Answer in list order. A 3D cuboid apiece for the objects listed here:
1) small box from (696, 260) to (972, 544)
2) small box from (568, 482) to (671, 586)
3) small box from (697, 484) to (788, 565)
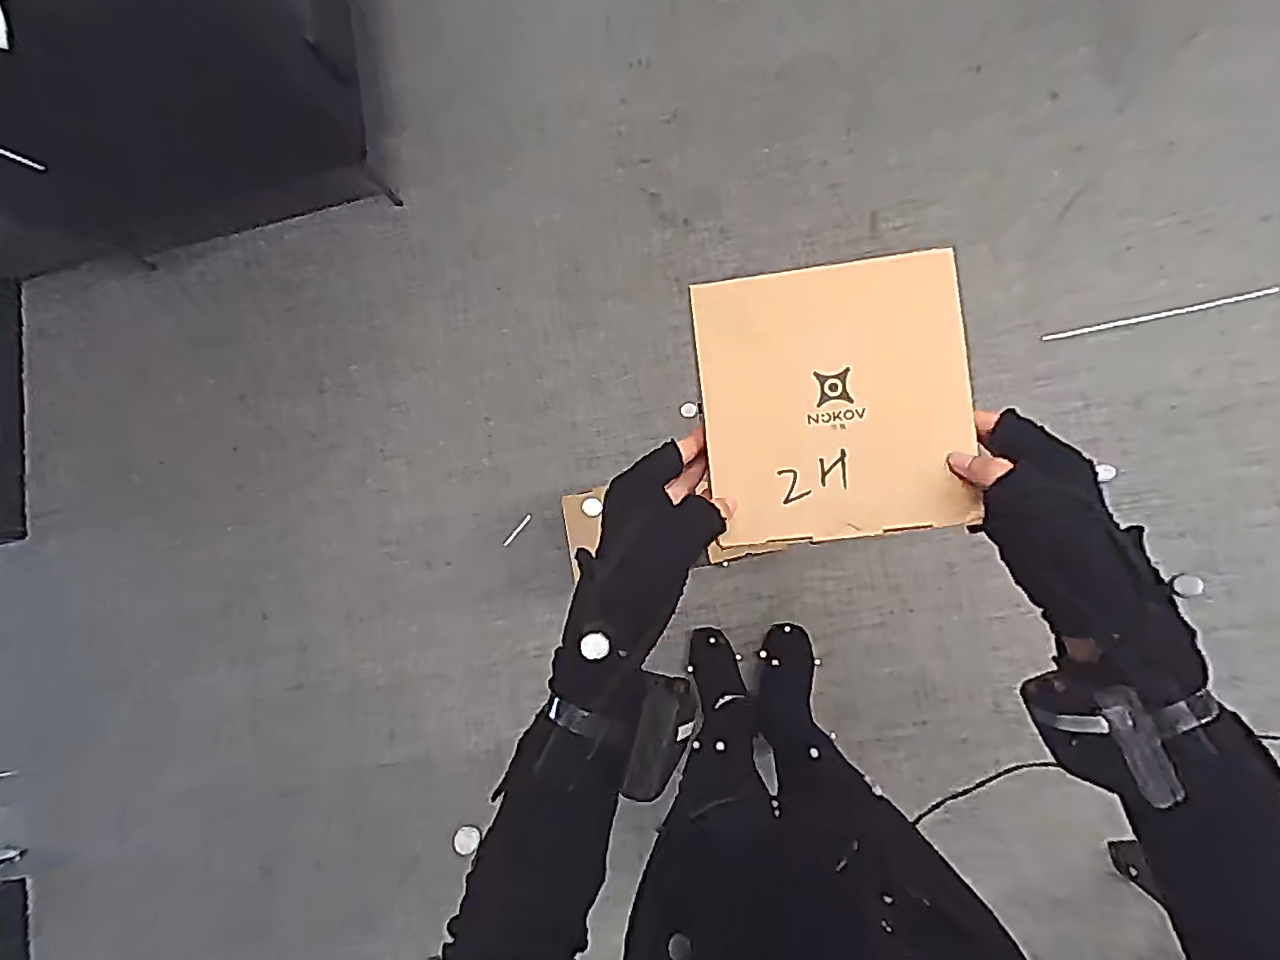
[{"bbox_3d":[0.133,-0.049,0.433,0.168,0.176,0.179,-5,90,7],"label":"small box"},{"bbox_3d":[-0.036,0.114,1.093,0.168,0.176,0.179,-11,80,7],"label":"small box"},{"bbox_3d":[0.229,0.090,1.220,0.168,0.176,0.179,-12,80,7],"label":"small box"}]
